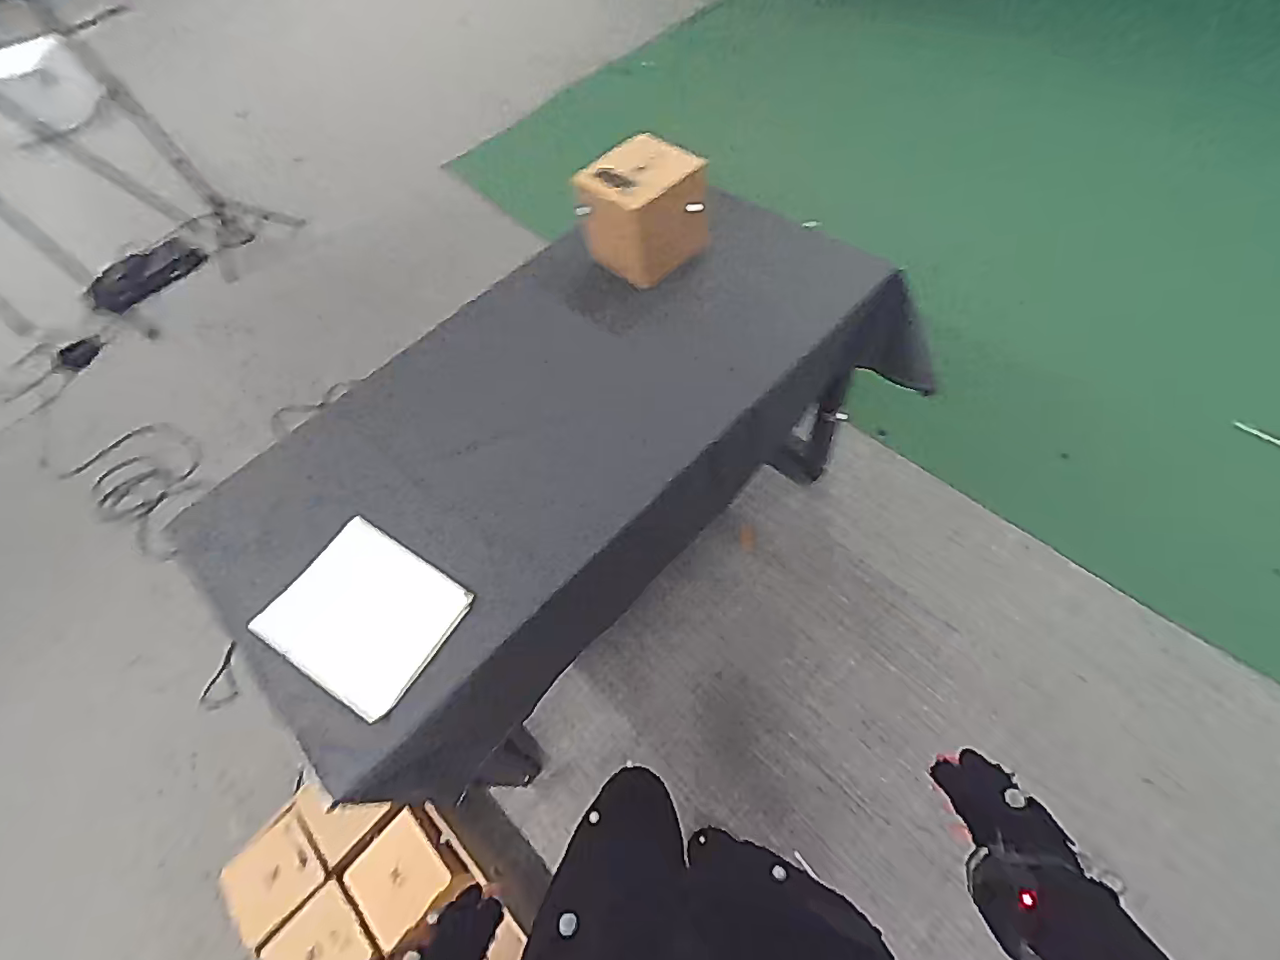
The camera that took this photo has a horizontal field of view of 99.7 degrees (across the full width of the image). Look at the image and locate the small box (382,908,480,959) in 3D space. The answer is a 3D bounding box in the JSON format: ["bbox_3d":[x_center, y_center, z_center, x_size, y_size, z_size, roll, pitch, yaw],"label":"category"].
[{"bbox_3d":[-0.203,0.496,0.435,0.176,0.179,0.168,-22,66,-23],"label":"small box"}]
